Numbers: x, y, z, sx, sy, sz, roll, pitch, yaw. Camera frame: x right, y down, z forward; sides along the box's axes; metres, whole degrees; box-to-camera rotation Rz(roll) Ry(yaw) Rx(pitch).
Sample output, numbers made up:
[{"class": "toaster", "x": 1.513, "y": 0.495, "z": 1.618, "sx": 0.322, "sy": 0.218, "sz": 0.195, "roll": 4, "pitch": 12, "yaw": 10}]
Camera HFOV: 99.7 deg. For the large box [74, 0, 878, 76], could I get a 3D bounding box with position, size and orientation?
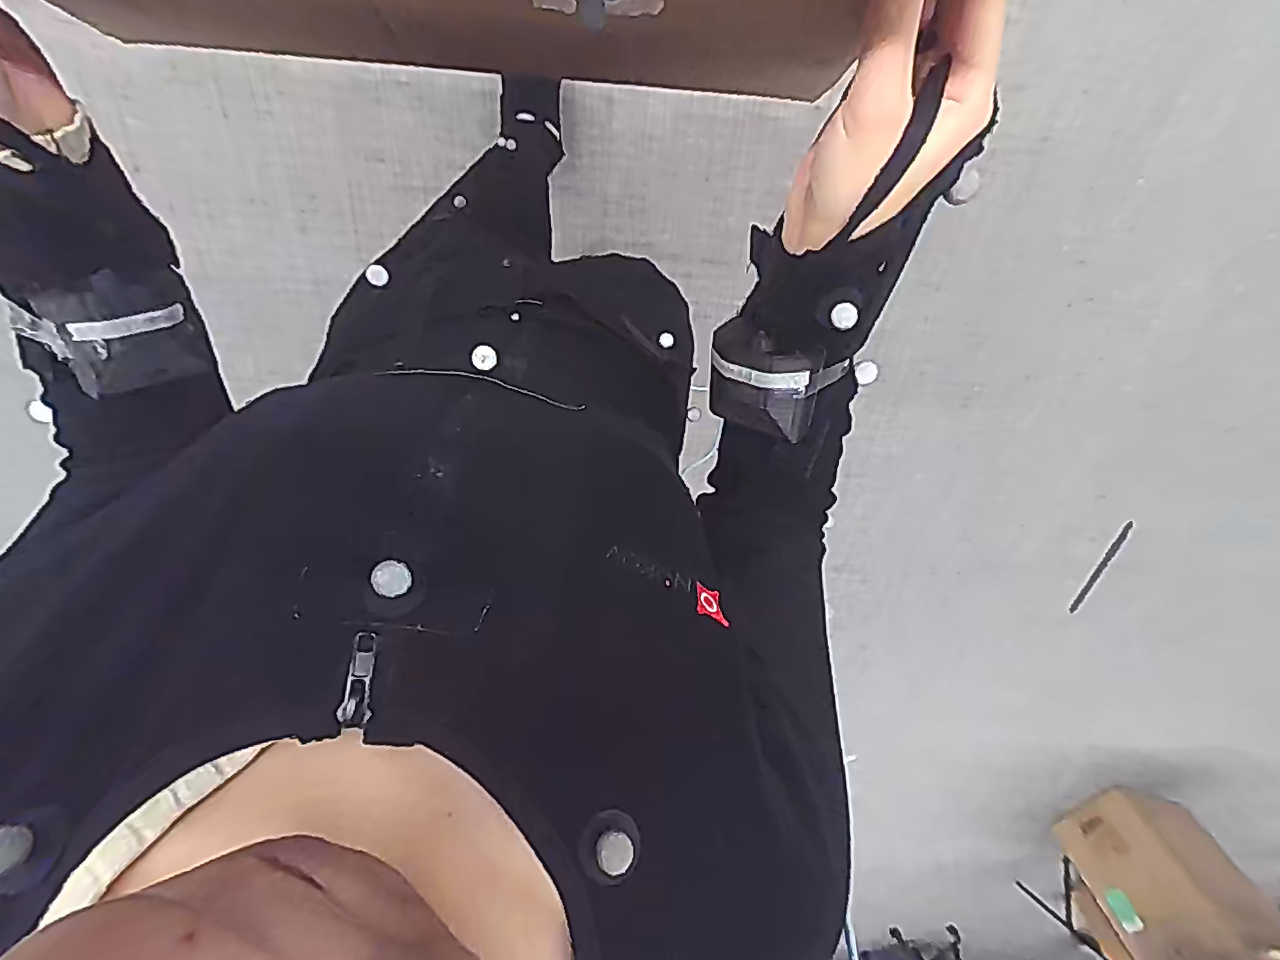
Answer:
[{"class": "large box", "x": -0.079, "y": -0.352, "z": 0.132, "sx": 0.408, "sy": 0.320, "sz": 0.320, "roll": 1, "pitch": 108, "yaw": -4}]
